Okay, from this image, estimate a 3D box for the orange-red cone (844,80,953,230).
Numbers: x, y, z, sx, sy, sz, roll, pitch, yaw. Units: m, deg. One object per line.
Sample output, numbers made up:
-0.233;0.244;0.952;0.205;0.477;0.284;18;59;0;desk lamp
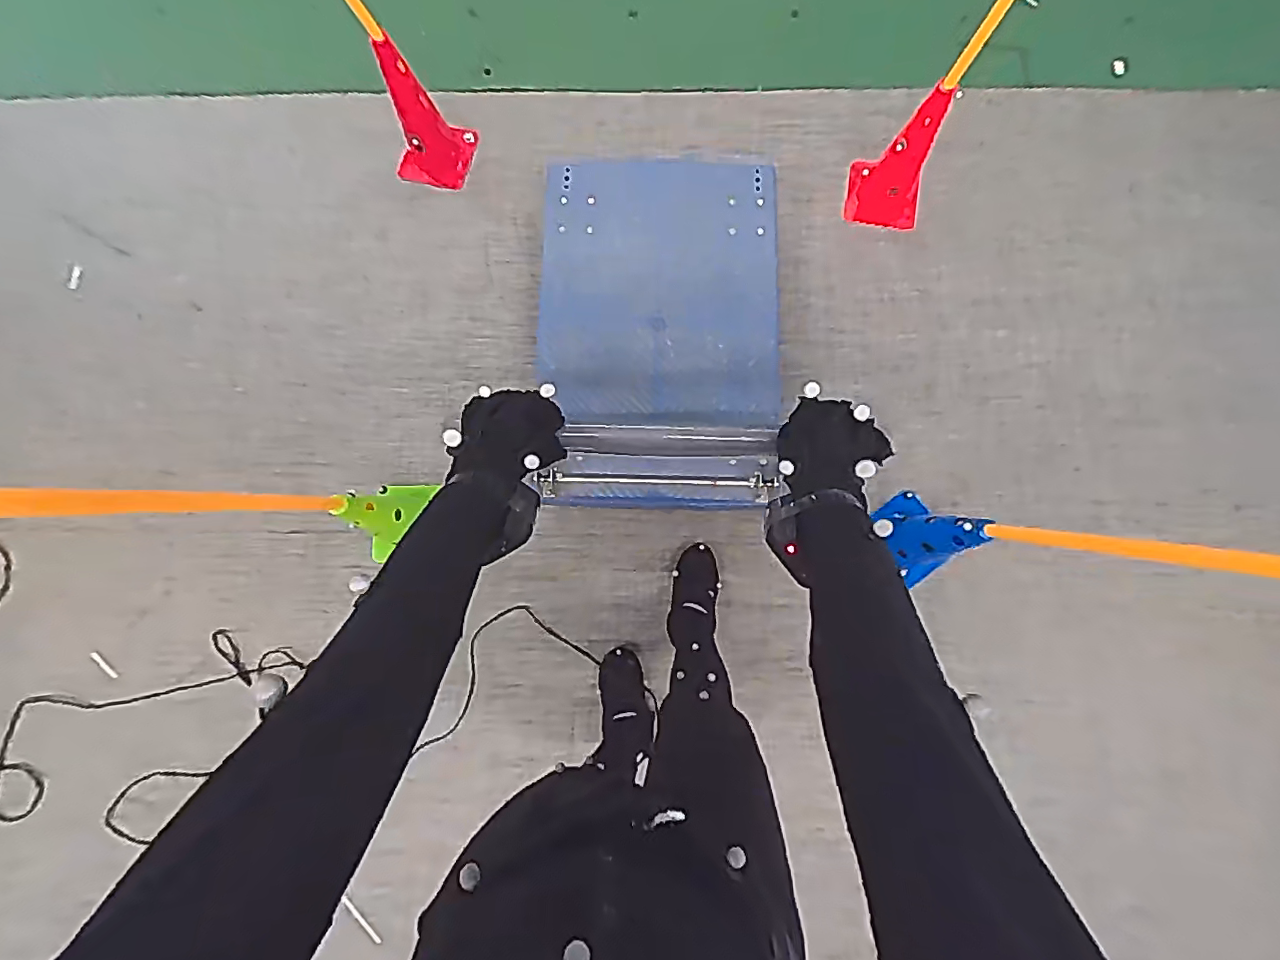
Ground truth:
0.686;-0.841;1.374;0.198;0.360;0.199;12;81;4;orange-red cone
